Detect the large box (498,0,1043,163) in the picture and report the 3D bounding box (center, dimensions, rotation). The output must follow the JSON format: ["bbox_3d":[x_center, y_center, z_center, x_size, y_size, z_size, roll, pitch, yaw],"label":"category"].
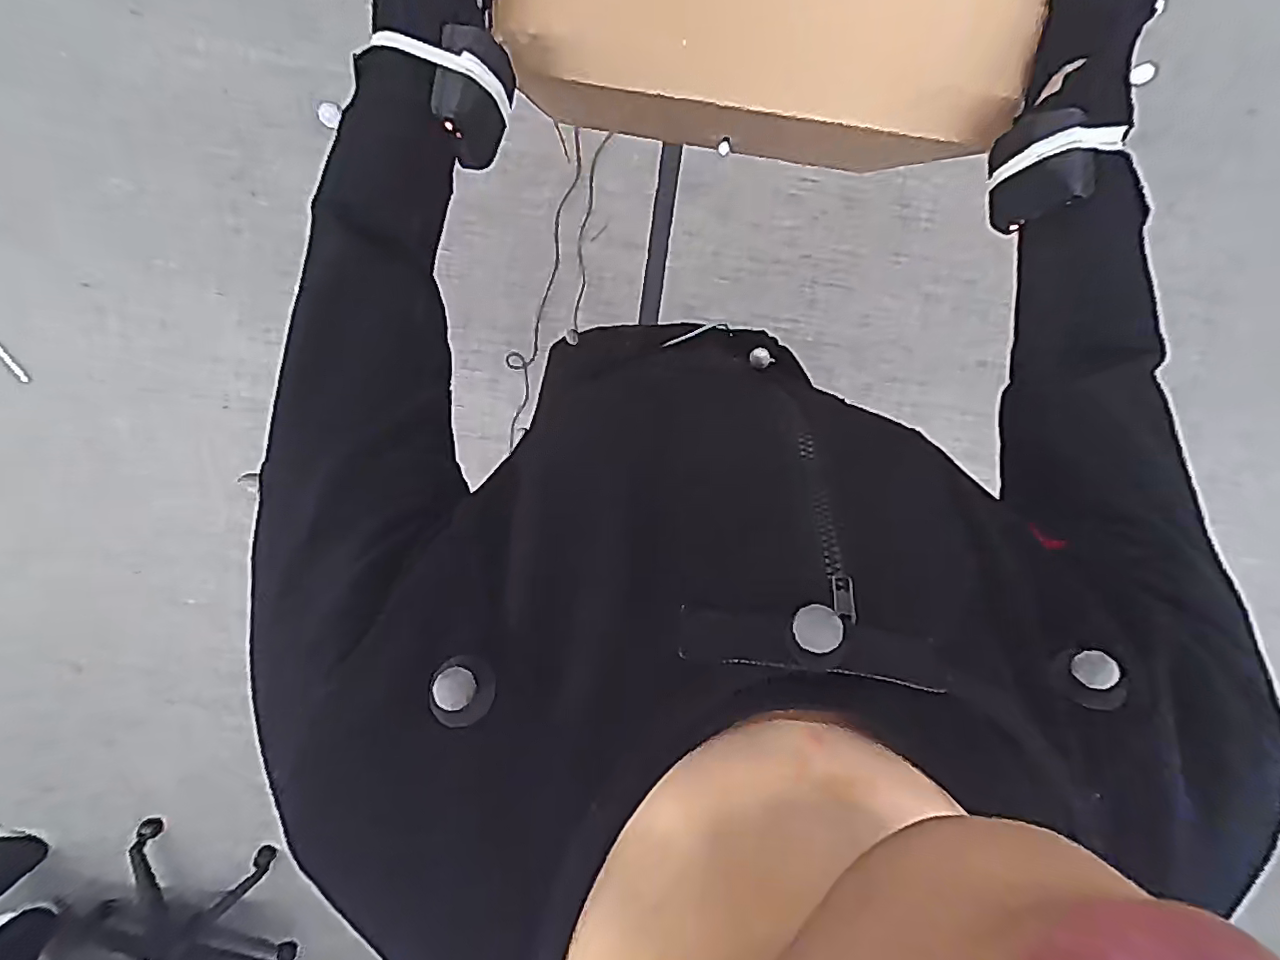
[{"bbox_3d":[0.111,-0.495,0.490,0.408,0.320,0.320,8,116,-3],"label":"large box"}]
